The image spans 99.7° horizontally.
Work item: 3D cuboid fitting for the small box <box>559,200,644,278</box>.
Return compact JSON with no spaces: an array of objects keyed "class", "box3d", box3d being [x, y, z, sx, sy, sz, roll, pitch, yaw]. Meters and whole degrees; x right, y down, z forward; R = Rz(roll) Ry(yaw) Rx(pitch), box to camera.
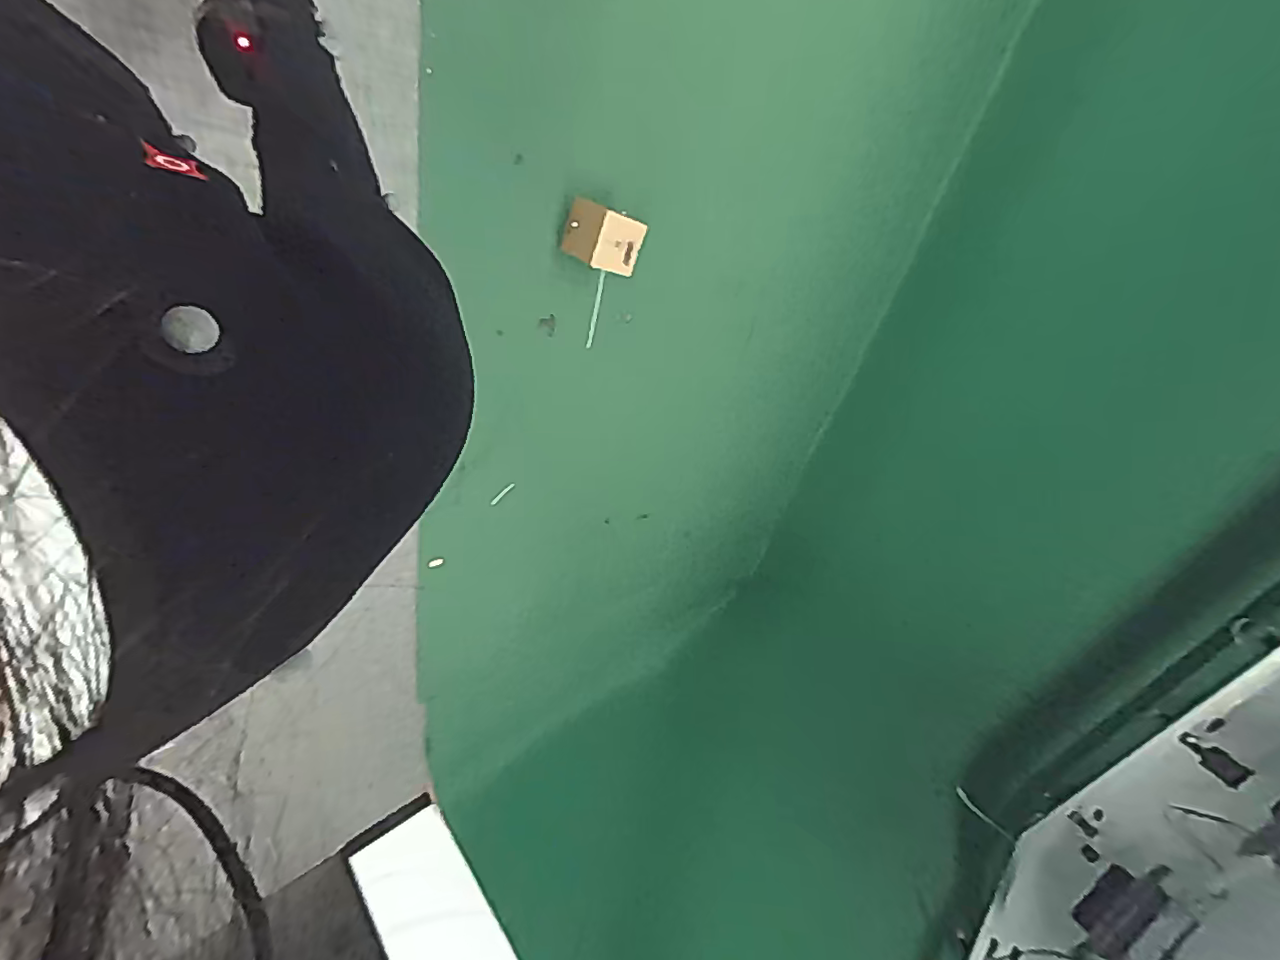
[{"class":"small box","box3d":[-0.126,-0.764,1.713,0.179,0.176,0.168,-6,127,-47]}]
